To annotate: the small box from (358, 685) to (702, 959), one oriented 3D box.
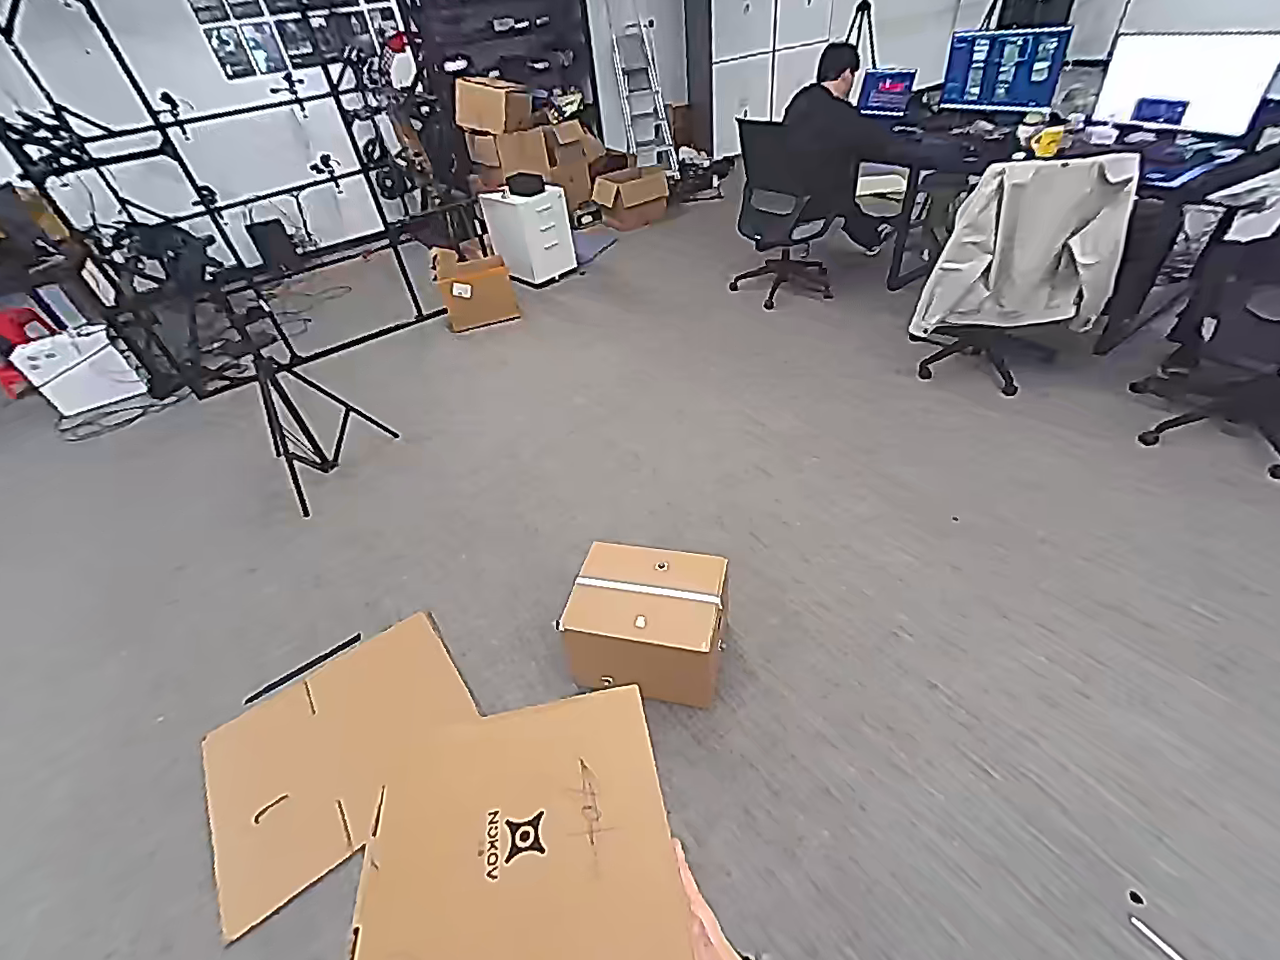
[{"bbox_3d":[-0.060,0.273,0.360,0.179,0.176,0.168,-11,36,-7],"label":"small box"}]
